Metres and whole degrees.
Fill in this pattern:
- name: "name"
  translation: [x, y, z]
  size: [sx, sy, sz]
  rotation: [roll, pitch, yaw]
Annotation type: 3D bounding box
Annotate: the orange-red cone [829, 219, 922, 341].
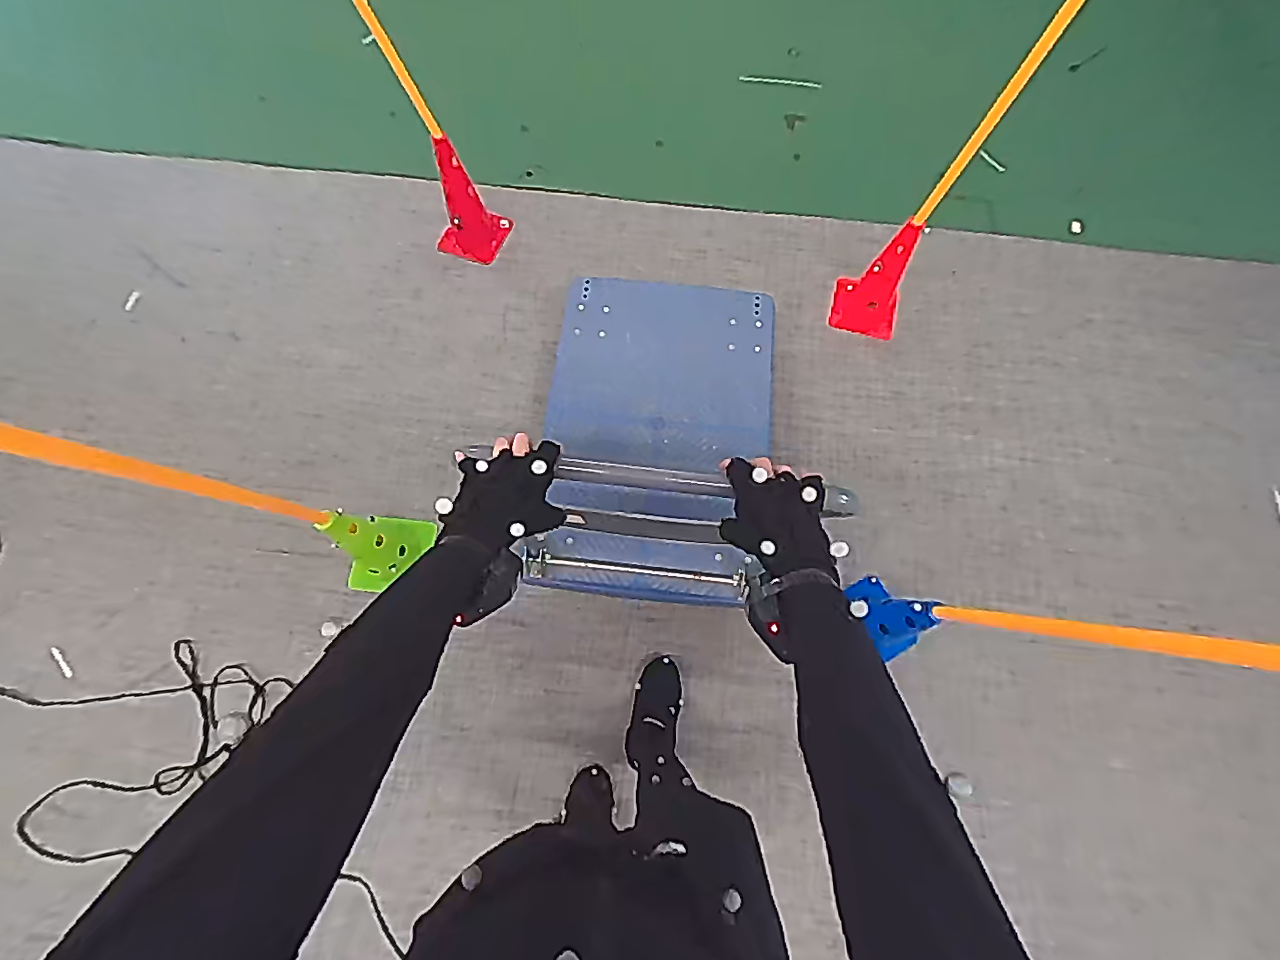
- name: "orange-red cone"
  translation: [0.711, -0.596, 1.555]
  size: [0.198, 0.360, 0.199]
  rotation: [17, 72, 6]
